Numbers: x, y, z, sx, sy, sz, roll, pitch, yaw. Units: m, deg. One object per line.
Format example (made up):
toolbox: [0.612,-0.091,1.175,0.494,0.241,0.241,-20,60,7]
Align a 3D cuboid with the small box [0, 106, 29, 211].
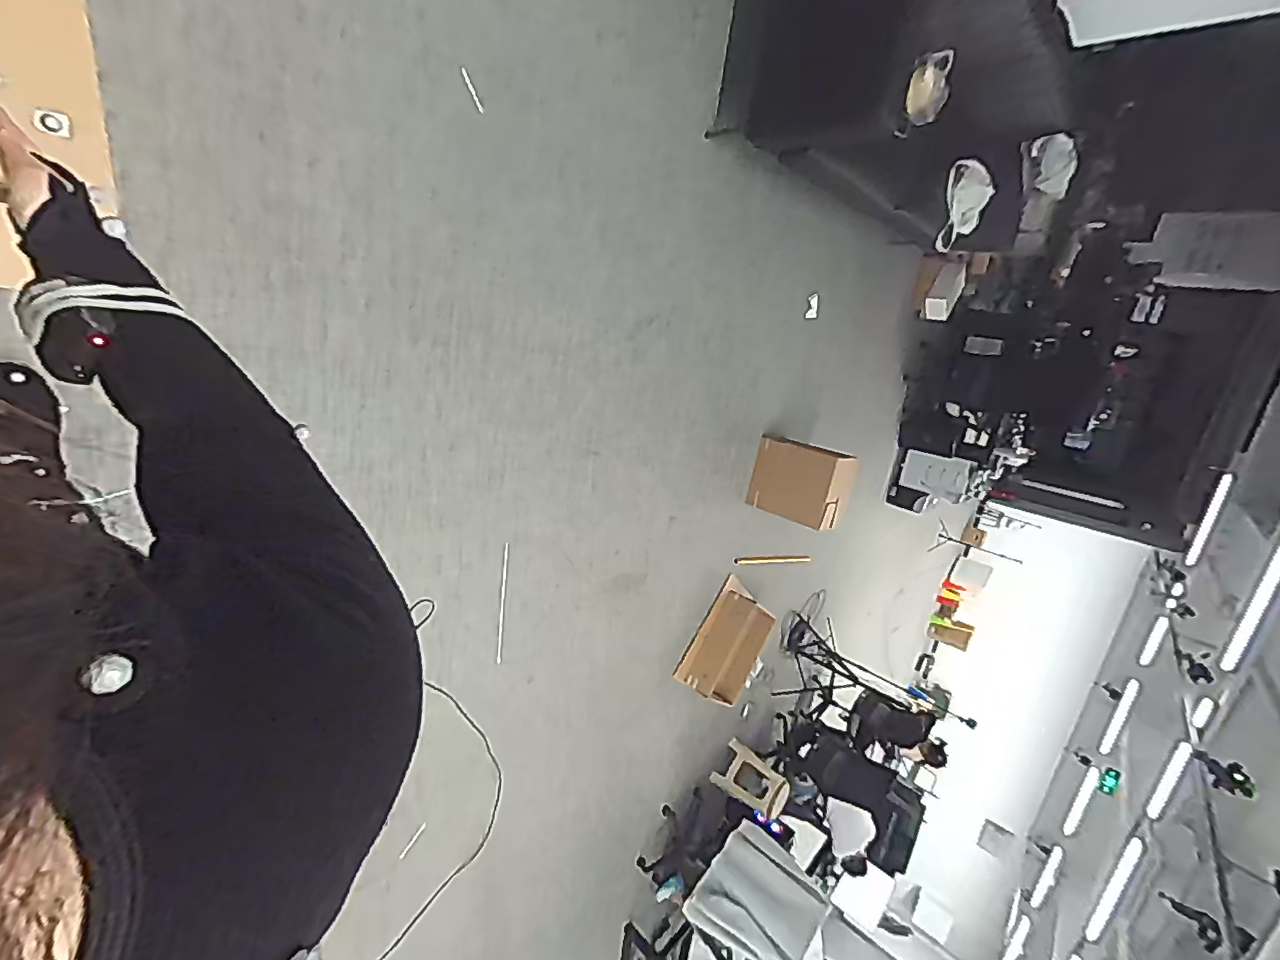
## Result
small box: [-0.562,-0.289,0.361,0.168,0.176,0.179,-19,118,-40]
